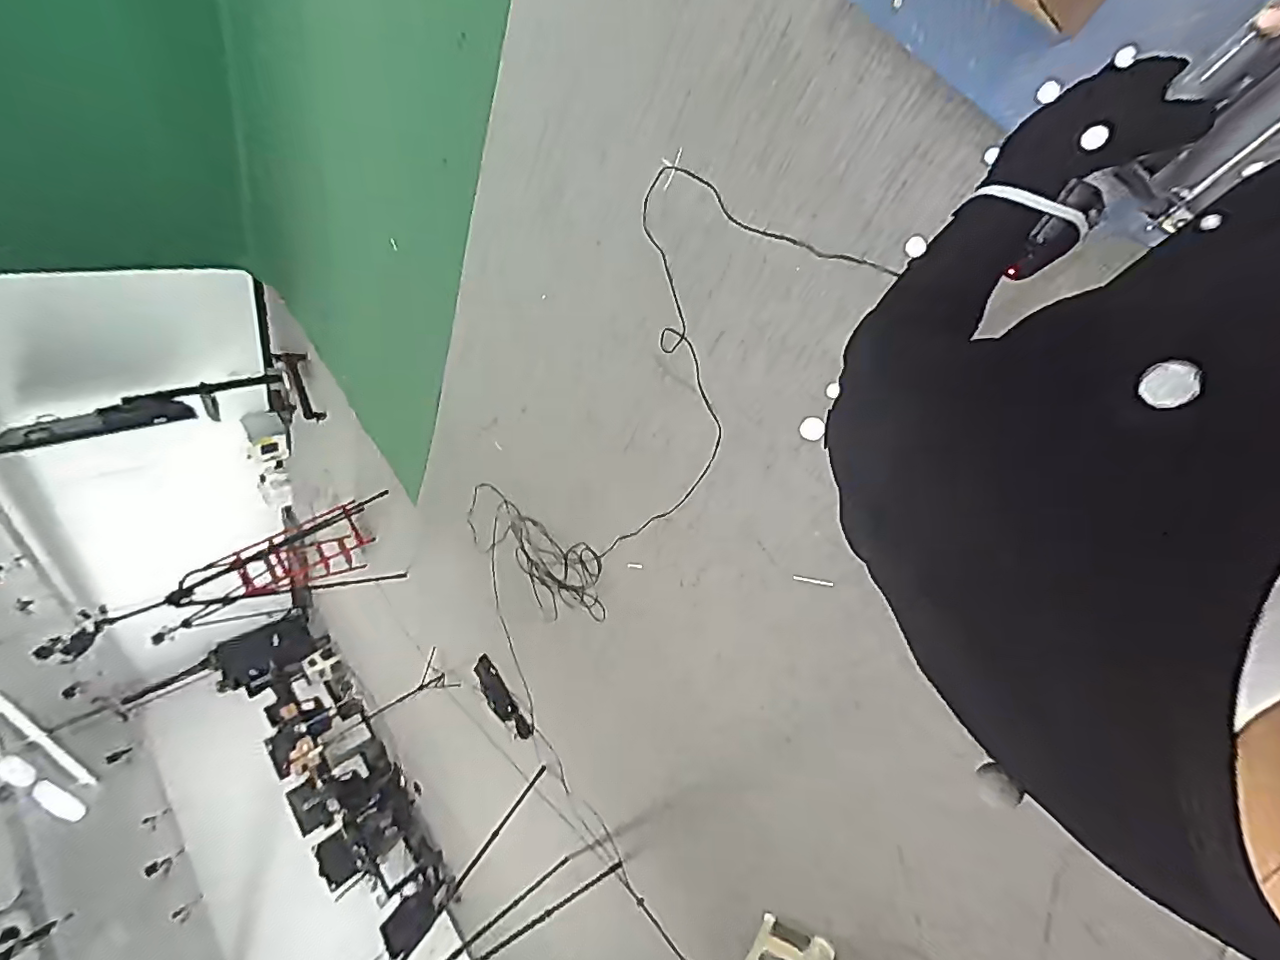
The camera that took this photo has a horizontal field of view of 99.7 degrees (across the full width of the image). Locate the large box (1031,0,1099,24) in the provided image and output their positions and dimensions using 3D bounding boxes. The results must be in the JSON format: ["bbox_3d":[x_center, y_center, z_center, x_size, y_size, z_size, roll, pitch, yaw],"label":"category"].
[{"bbox_3d":[0.618,-0.939,0.709,0.320,0.320,0.408,53,138,16],"label":"large box"}]
